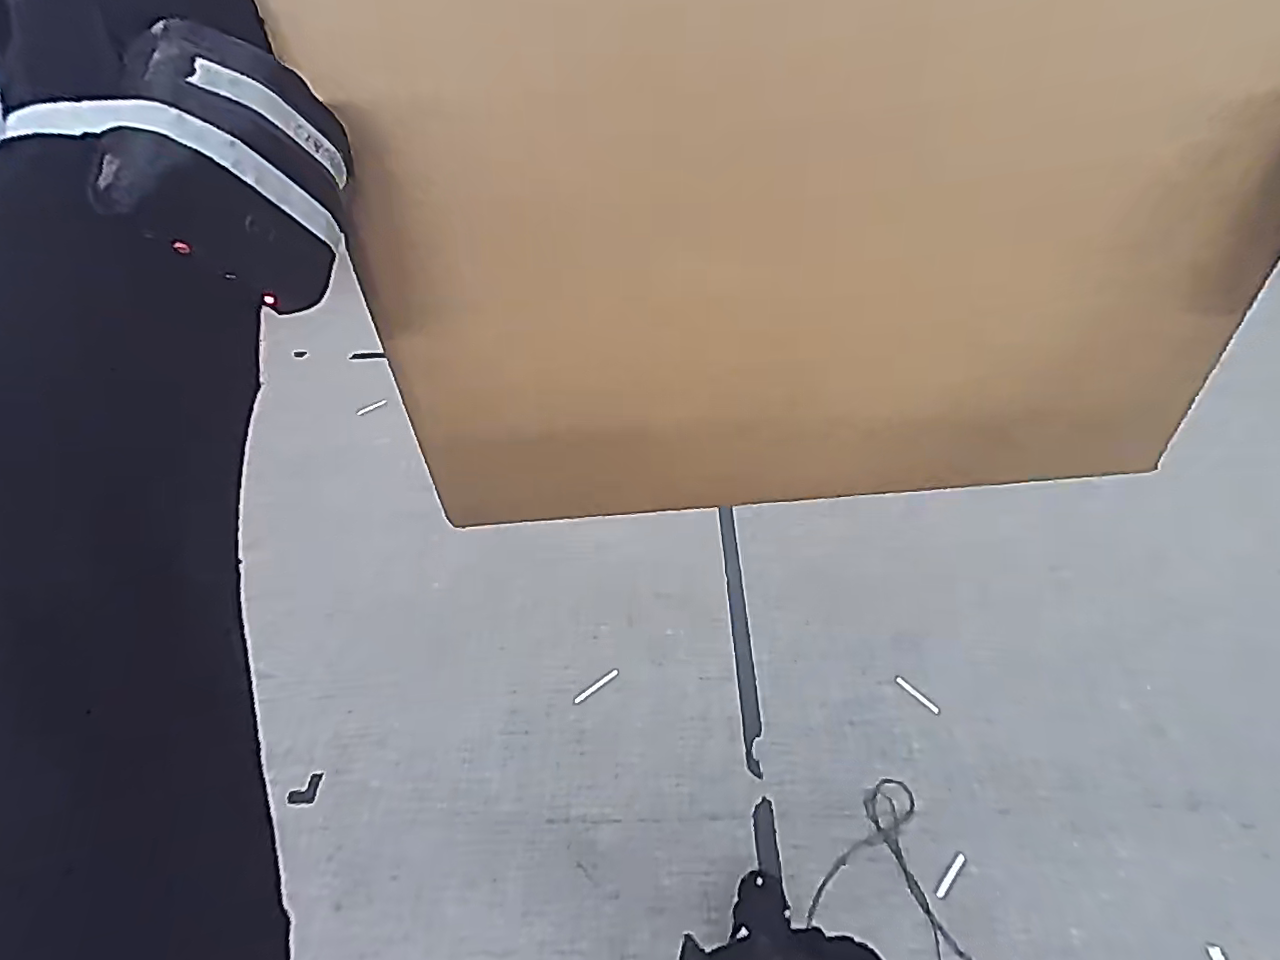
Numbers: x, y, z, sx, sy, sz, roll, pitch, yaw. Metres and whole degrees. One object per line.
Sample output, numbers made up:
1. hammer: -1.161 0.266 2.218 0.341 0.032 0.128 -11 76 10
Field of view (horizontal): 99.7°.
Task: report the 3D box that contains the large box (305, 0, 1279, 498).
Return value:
1. large box: 0.073 -0.210 0.349 0.408 0.320 0.320 -4 36 0
